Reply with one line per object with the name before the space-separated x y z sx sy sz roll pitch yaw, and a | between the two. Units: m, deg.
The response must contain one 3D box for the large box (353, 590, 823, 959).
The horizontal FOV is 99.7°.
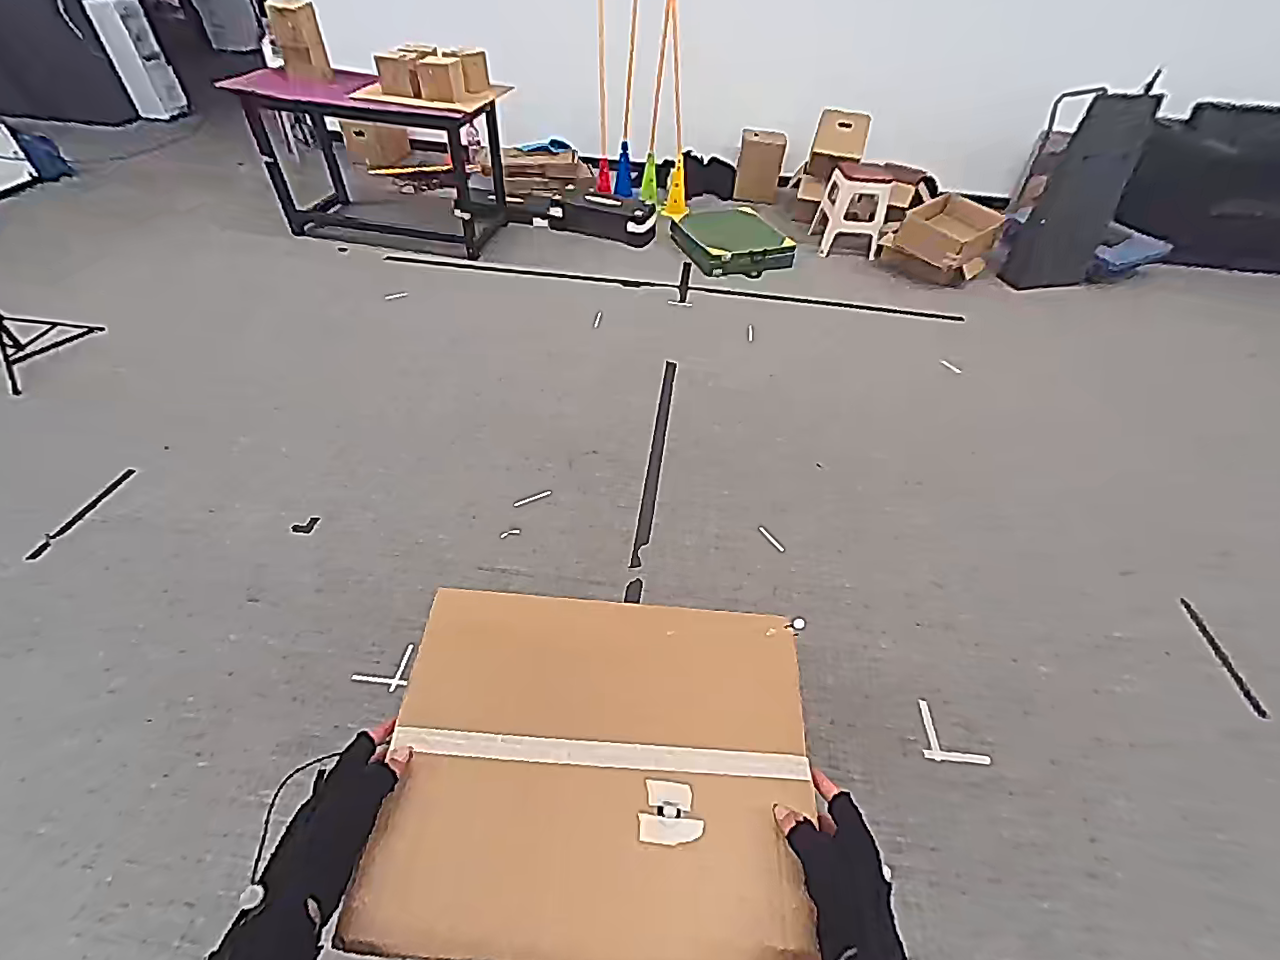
large box | -0.046 0.353 0.656 0.408 0.320 0.320 5 54 -1
